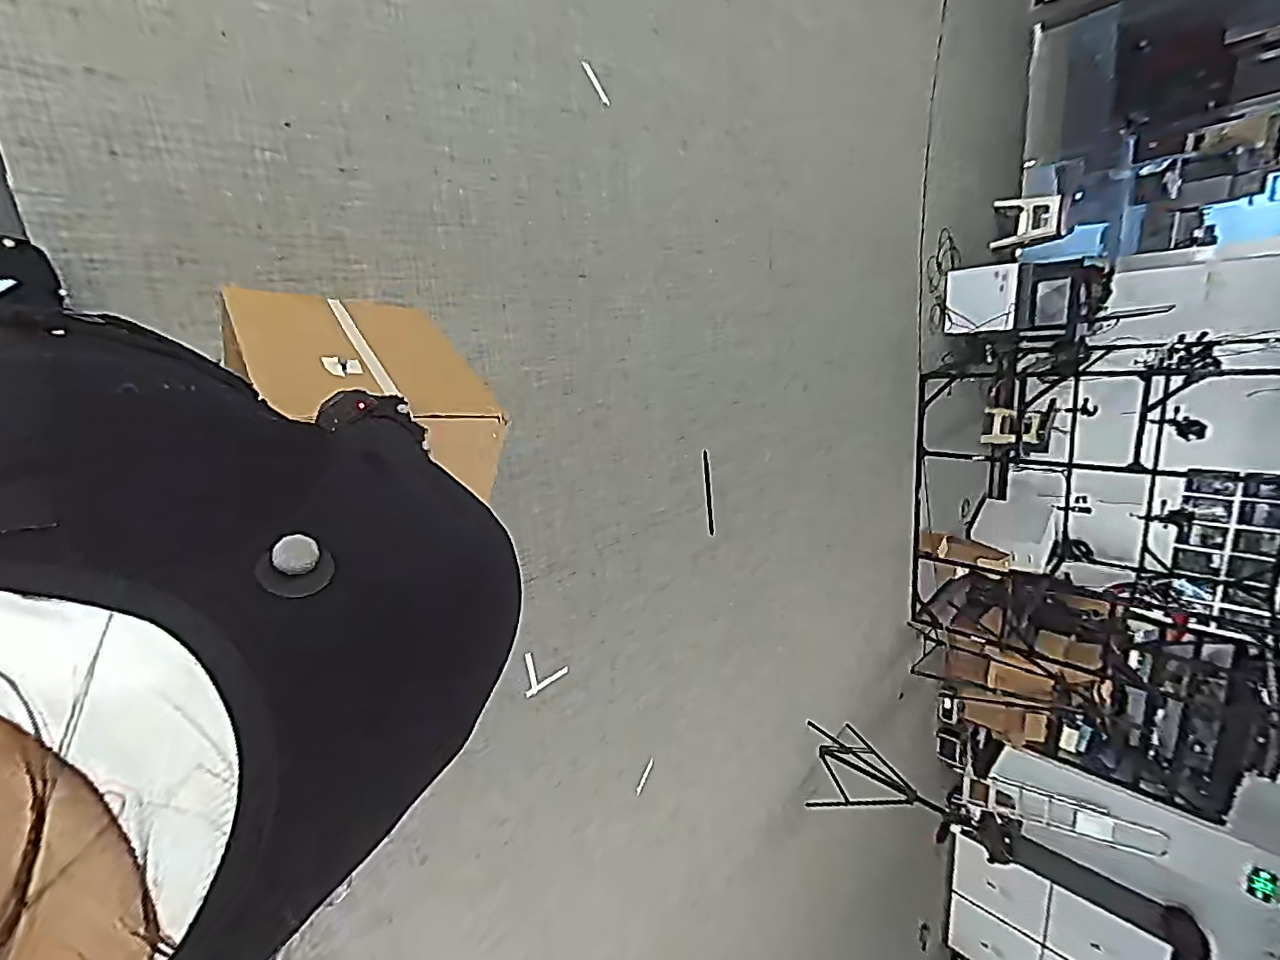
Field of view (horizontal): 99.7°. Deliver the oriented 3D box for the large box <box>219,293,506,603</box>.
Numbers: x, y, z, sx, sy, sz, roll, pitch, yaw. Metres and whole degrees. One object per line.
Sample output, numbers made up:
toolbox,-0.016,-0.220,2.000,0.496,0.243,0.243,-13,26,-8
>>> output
large box,-0.484,-0.067,0.907,0.320,0.408,0.320,-6,131,-41
